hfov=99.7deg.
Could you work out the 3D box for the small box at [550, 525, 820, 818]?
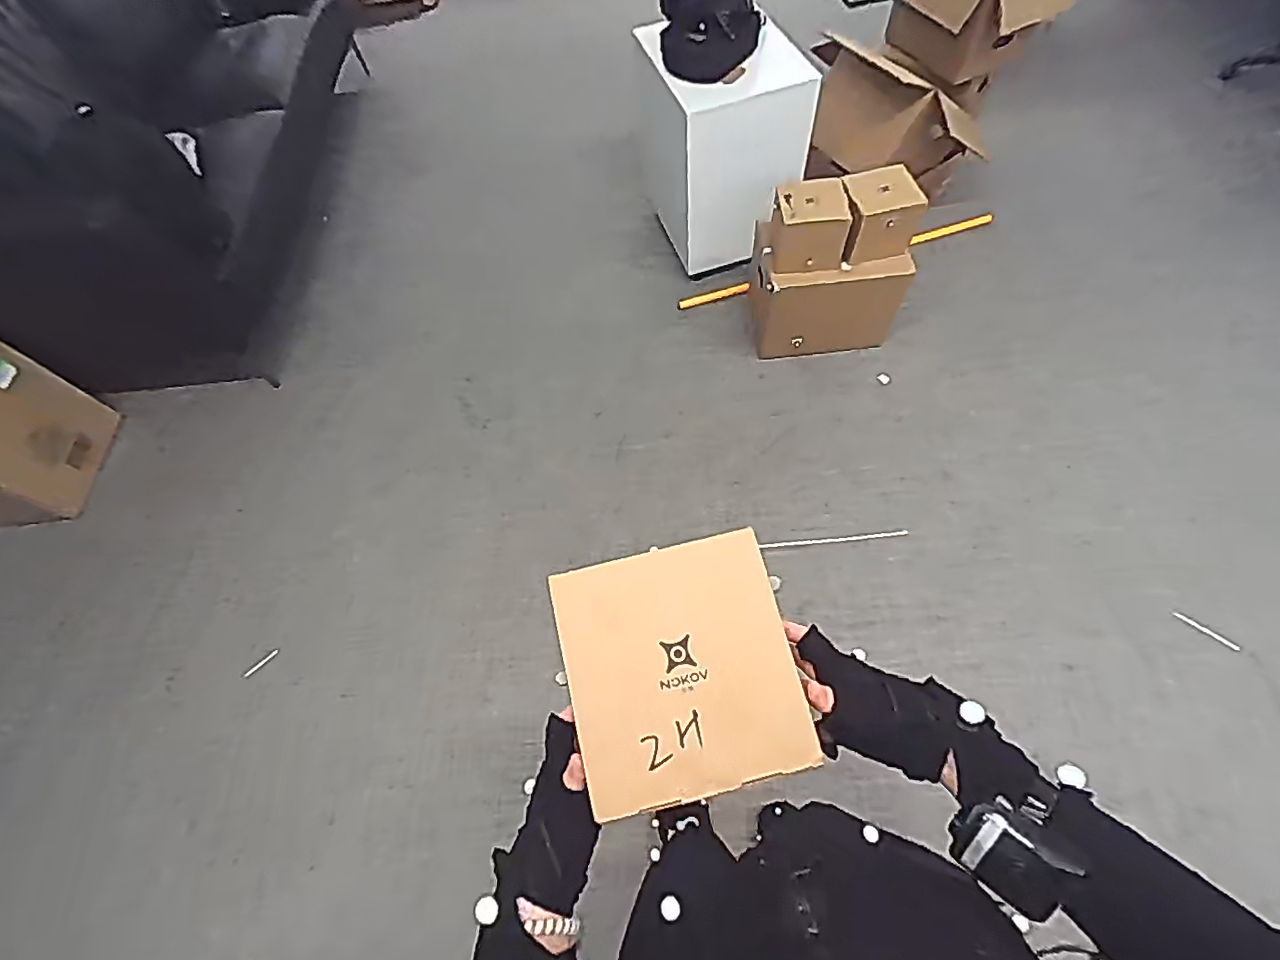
[{"bbox_3d":[0.028,0.154,0.466,0.168,0.176,0.179,-13,74,-2],"label":"small box"}]
